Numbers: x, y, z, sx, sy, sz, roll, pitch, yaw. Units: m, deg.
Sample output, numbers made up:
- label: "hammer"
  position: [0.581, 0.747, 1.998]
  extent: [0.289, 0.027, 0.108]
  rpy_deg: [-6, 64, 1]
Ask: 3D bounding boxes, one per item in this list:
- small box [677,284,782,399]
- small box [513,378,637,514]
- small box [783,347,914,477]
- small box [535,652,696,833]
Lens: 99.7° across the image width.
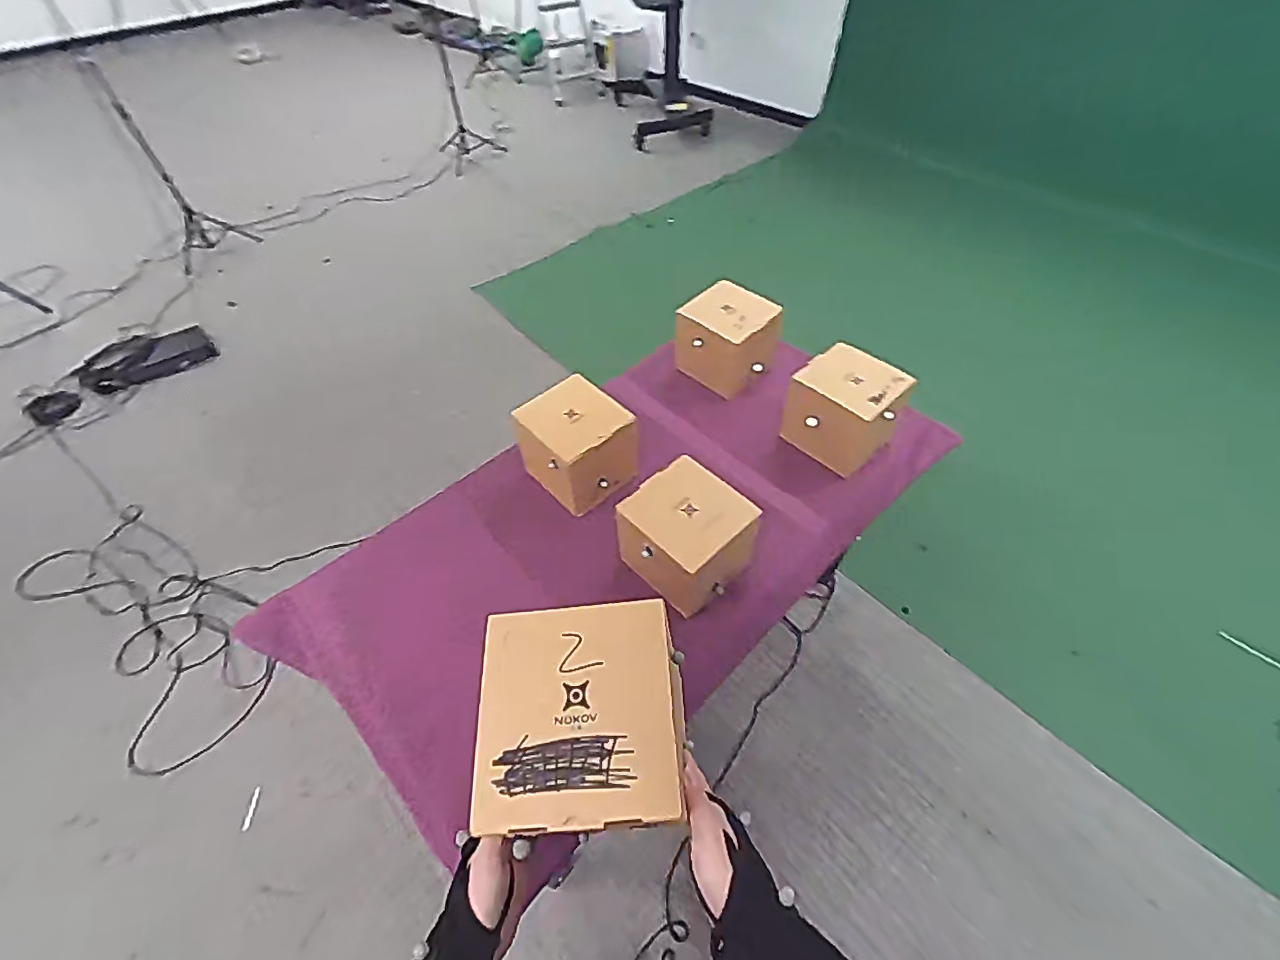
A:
- label: "small box"
  position: [0.200, -0.320, 1.262]
  extent: [0.168, 0.176, 0.179]
  rpy_deg: [-40, 61, -23]
- label: "small box"
  position: [-0.123, -0.065, 1.069]
  extent: [0.168, 0.176, 0.179]
  rpy_deg: [-37, 60, -26]
- label: "small box"
  position: [0.417, -0.138, 1.113]
  extent: [0.168, 0.176, 0.179]
  rpy_deg: [-36, 57, -23]
- label: "small box"
  position: [-0.020, 0.321, 0.655]
  extent: [0.168, 0.176, 0.179]
  rpy_deg: [-4, 56, 4]
